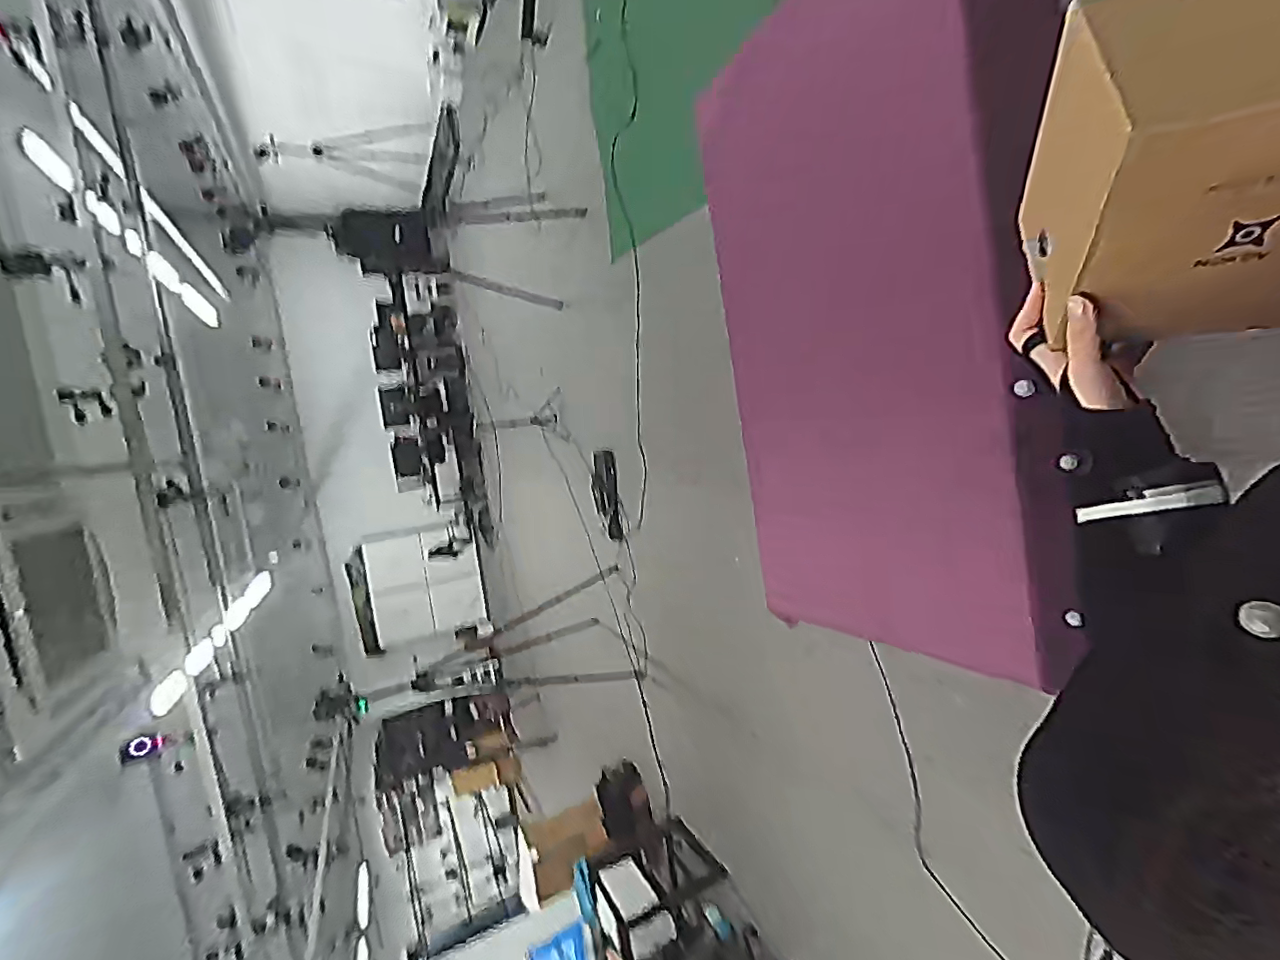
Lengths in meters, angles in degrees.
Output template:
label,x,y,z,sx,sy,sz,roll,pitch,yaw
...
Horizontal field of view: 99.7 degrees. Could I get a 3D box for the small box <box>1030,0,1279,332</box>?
label,x,y,z,sx,sy,sz,roll,pitch,yaw
small box,0.390,-0.230,0.371,0.179,0.168,0.176,56,-140,-55
